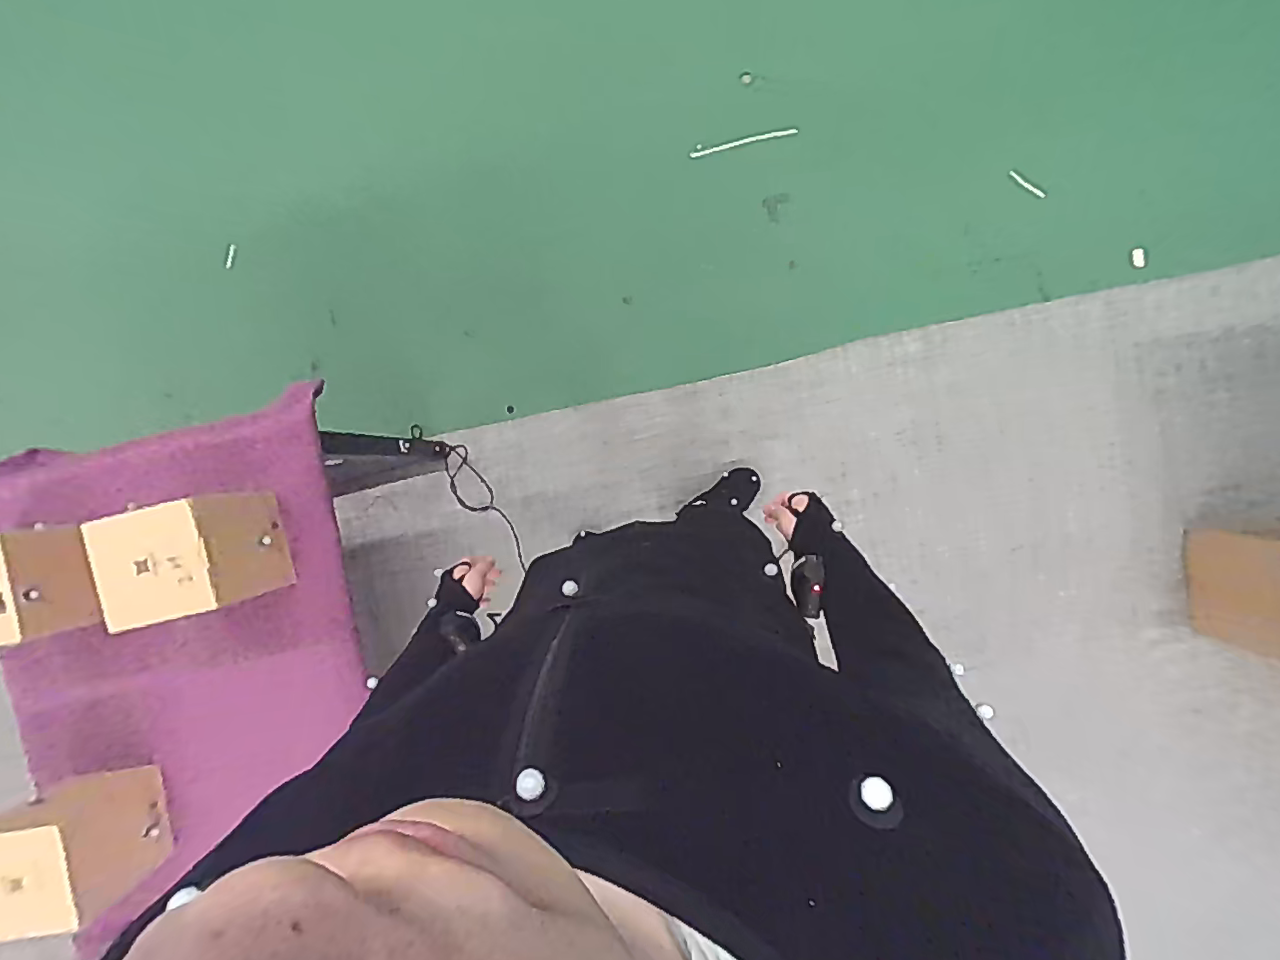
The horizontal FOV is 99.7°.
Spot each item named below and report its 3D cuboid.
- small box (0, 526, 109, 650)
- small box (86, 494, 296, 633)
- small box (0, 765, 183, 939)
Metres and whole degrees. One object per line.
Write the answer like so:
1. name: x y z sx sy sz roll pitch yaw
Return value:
1. small box: -1.000 0.176 0.879 0.179 0.176 0.168 -11 93 3
2. small box: -0.699 0.124 0.861 0.179 0.176 0.168 -13 94 3
3. small box: -0.923 0.606 0.898 0.179 0.176 0.168 -10 93 2
